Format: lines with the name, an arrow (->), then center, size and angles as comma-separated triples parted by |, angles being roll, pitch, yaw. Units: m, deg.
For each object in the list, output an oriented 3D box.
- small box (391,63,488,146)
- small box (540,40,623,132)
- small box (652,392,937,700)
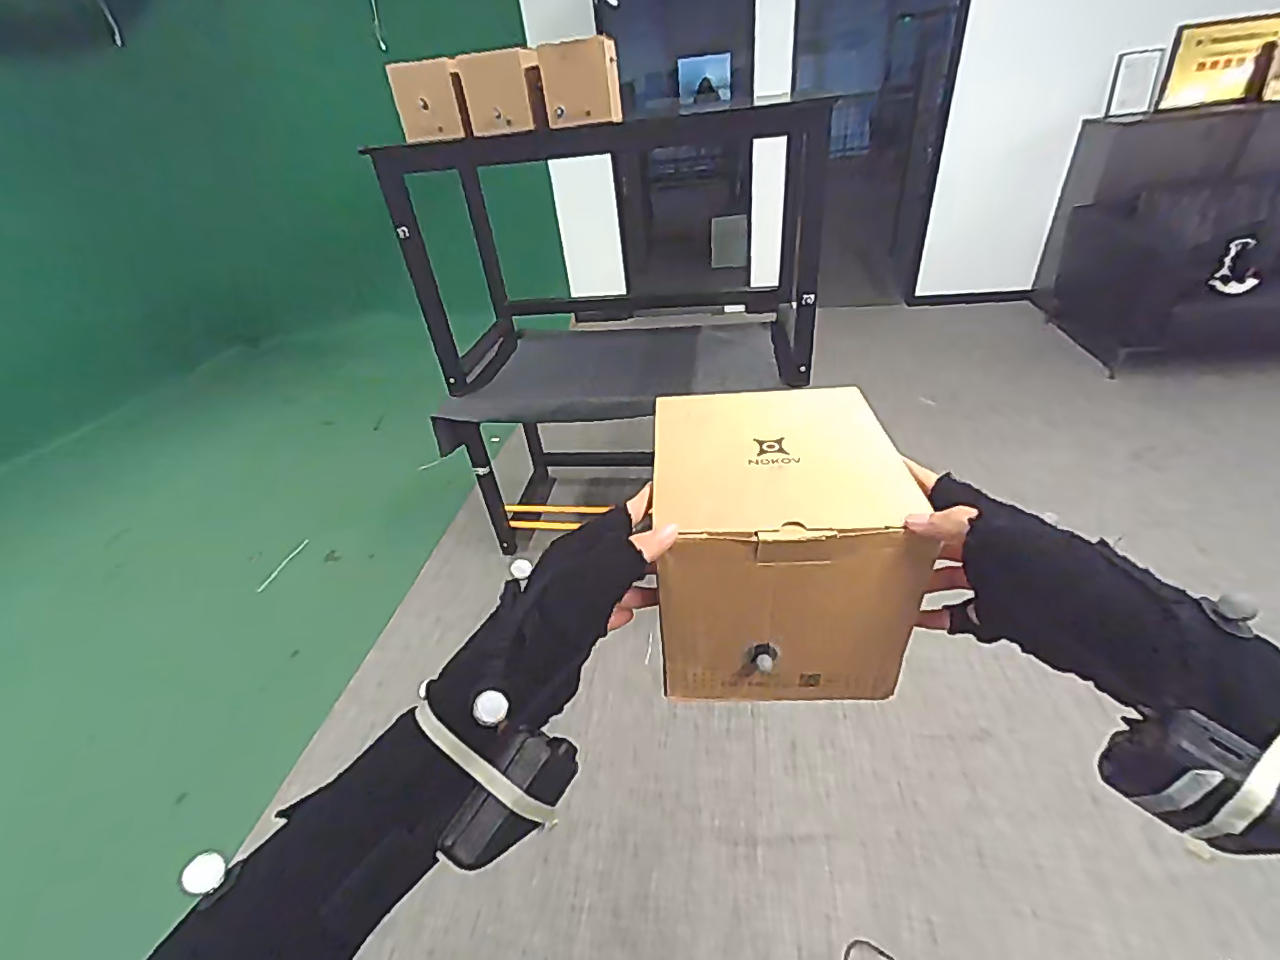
small box -> -0.529, -1.010, 1.460 | 0.168, 0.176, 0.179 | 1, 36, 9
small box -> -0.140, -0.996, 1.377 | 0.168, 0.176, 0.179 | -1, 35, 8
small box -> 0.097, 0.046, 0.425 | 0.168, 0.176, 0.179 | -3, 36, 4
